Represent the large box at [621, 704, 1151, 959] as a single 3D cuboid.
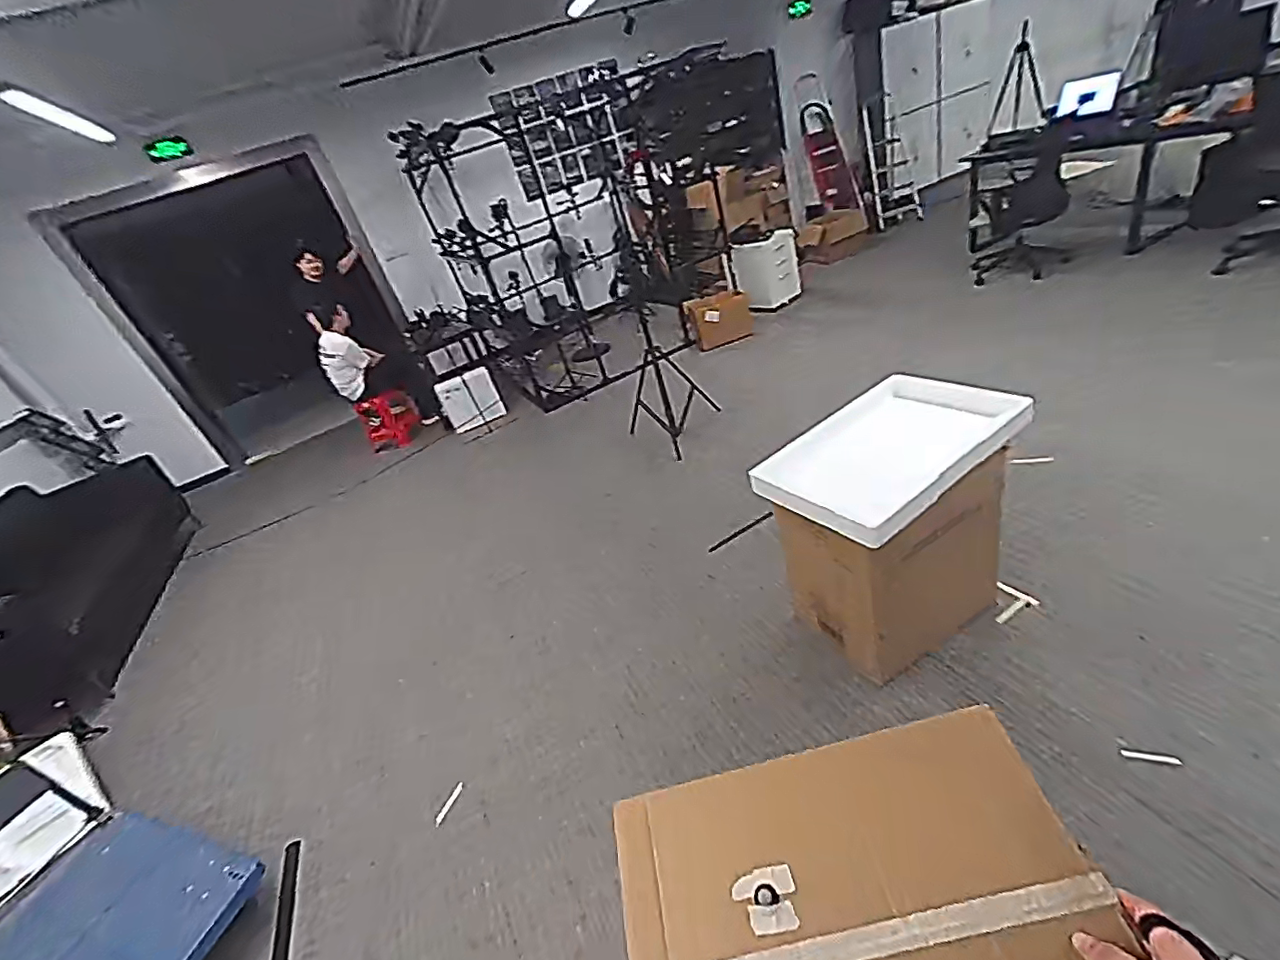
[{"bbox_3d":[0.234,0.486,0.559,0.408,0.320,0.320,-18,45,6],"label":"large box"}]
